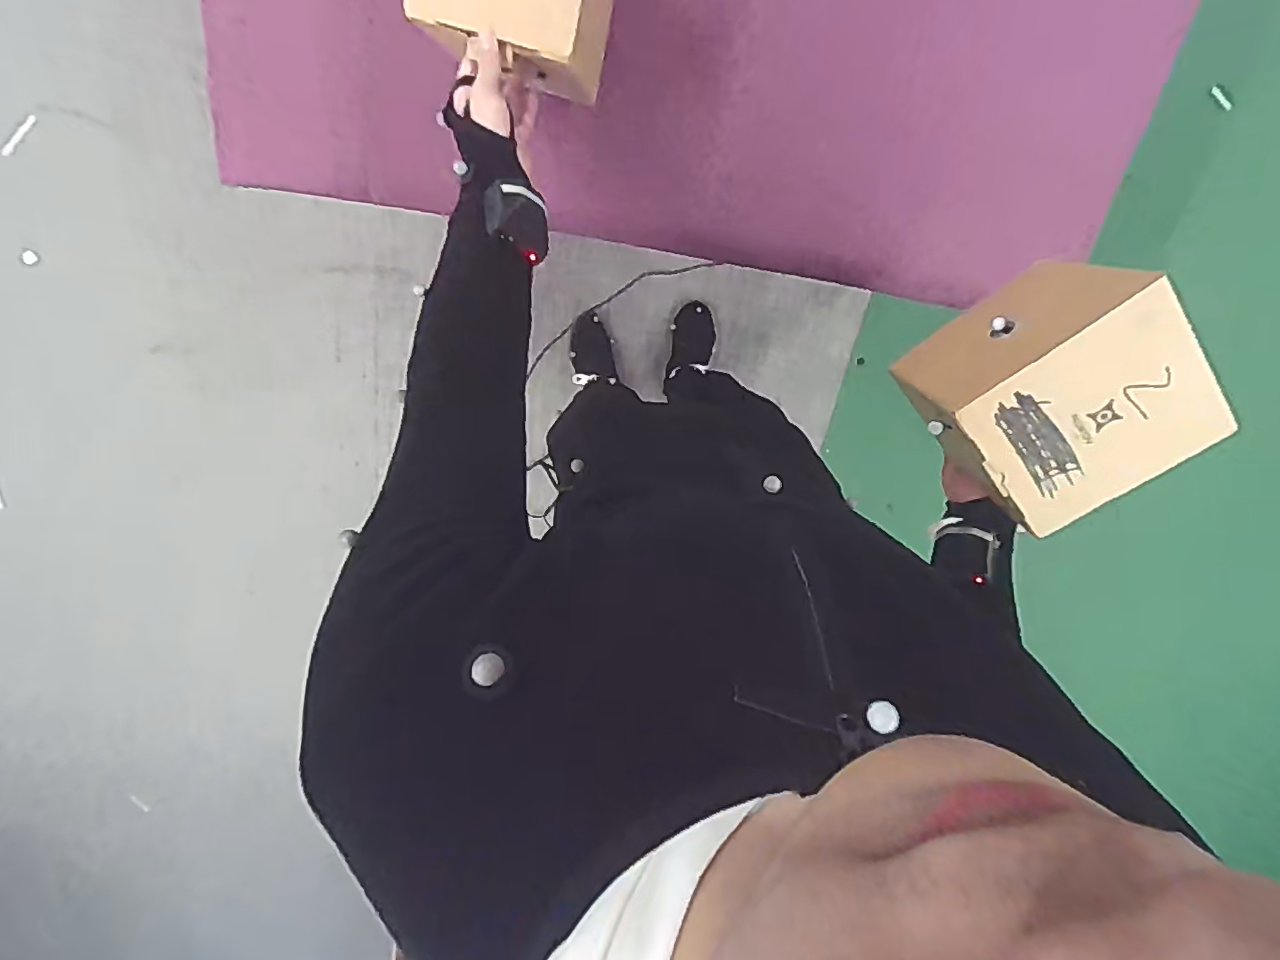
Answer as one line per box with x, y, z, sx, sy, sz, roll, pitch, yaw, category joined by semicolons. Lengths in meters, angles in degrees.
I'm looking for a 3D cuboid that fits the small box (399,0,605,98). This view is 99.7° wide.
-0.127;-0.533;0.561;0.168;0.176;0.179;14;112;-4;small box
